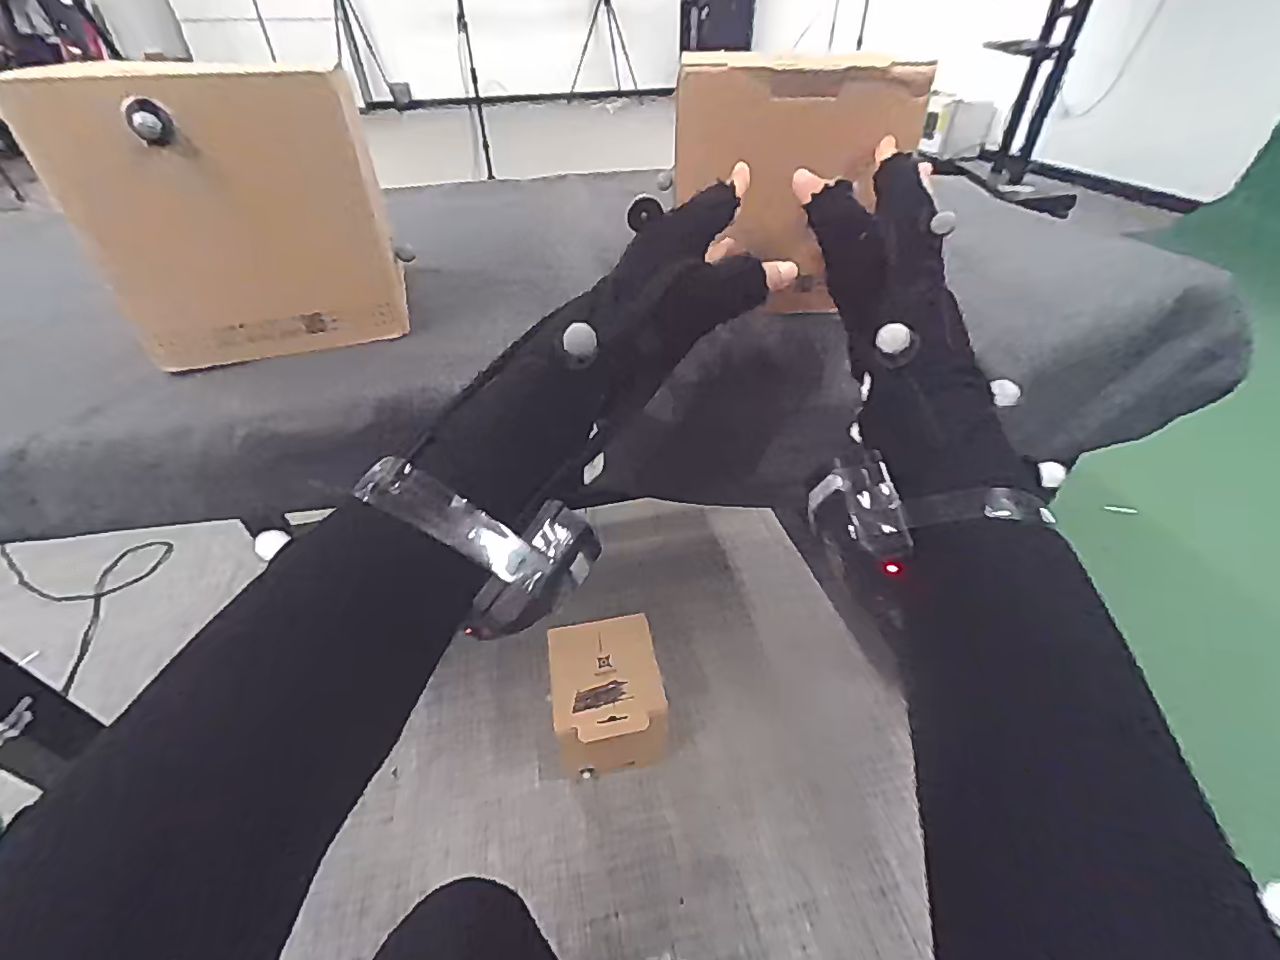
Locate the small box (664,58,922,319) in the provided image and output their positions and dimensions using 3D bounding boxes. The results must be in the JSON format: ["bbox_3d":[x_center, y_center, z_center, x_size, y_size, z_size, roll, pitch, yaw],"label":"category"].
[{"bbox_3d":[0.107,-0.248,0.460,0.168,0.176,0.179,2,39,3],"label":"small box"}]

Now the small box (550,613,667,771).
[{"bbox_3d":[-0.051,0.350,0.882,0.168,0.176,0.179,-8,40,-7],"label":"small box"}]

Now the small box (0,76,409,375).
[{"bbox_3d":[-0.286,-0.199,0.412,0.168,0.176,0.179,-14,40,-15],"label":"small box"}]
